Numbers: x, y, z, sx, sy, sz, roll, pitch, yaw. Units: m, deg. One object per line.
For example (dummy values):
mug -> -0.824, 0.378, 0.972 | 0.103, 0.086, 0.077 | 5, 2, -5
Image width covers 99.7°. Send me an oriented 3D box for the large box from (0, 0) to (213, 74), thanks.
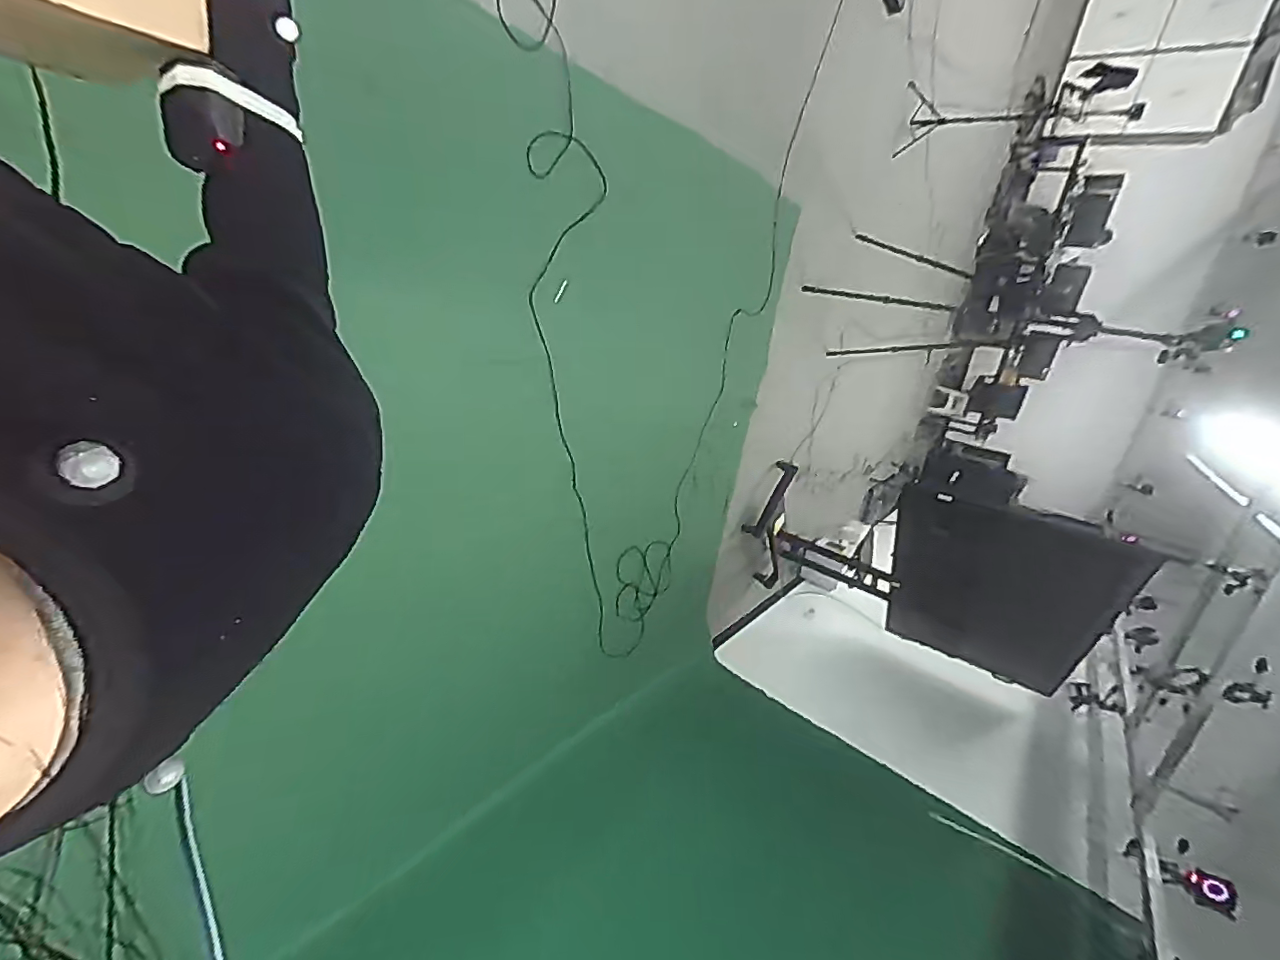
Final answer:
large box -> -0.548, -0.488, 0.304 | 0.408, 0.320, 0.320 | -16, 120, -48
